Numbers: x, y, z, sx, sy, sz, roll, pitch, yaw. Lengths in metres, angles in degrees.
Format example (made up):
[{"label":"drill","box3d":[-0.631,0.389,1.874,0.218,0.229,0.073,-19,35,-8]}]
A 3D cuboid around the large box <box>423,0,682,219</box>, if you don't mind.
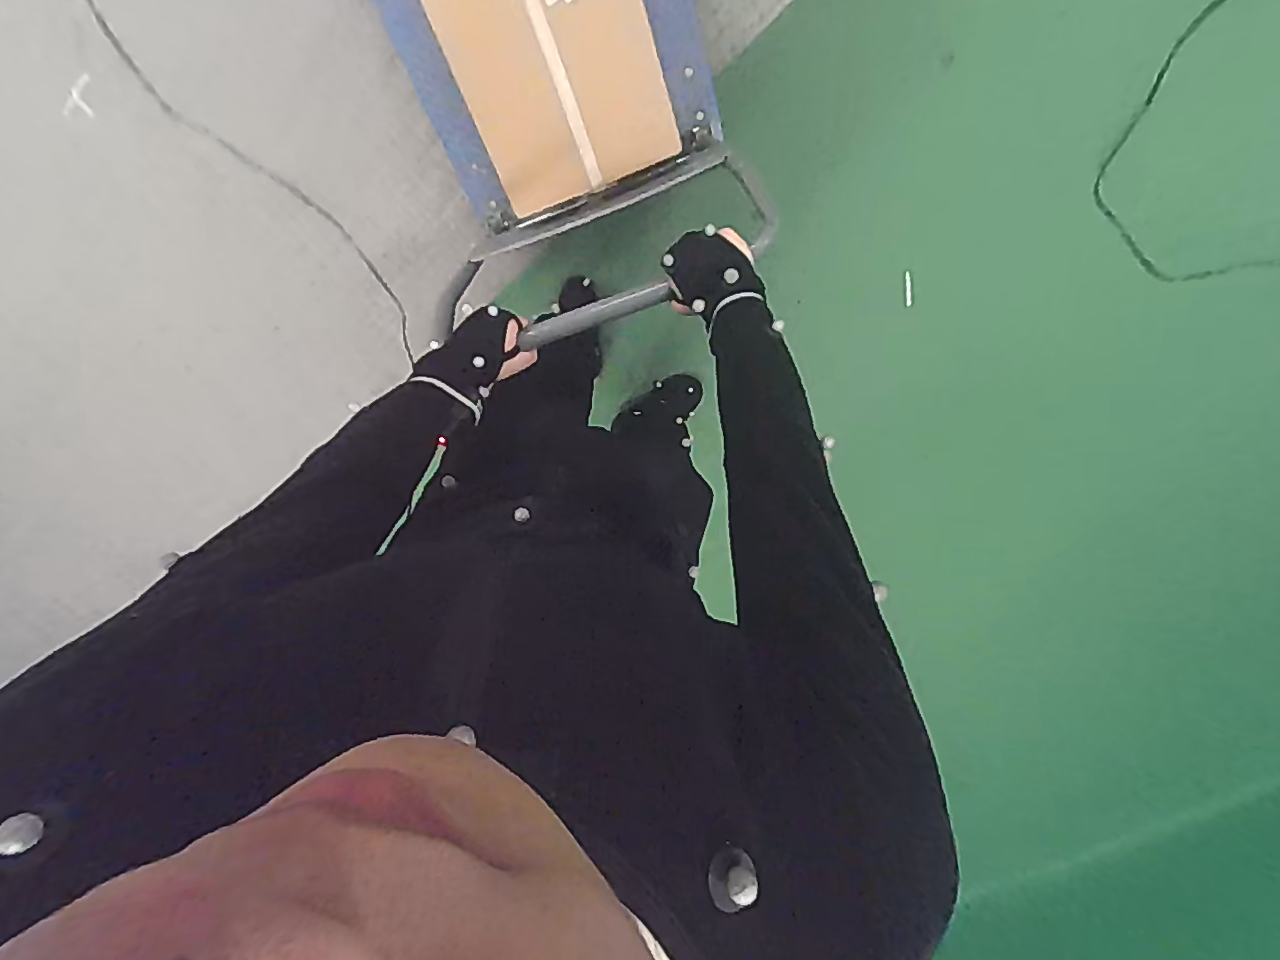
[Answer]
[{"label":"large box","box3d":[-0.138,-0.747,0.966,0.320,0.320,0.408,-18,122,10]}]
